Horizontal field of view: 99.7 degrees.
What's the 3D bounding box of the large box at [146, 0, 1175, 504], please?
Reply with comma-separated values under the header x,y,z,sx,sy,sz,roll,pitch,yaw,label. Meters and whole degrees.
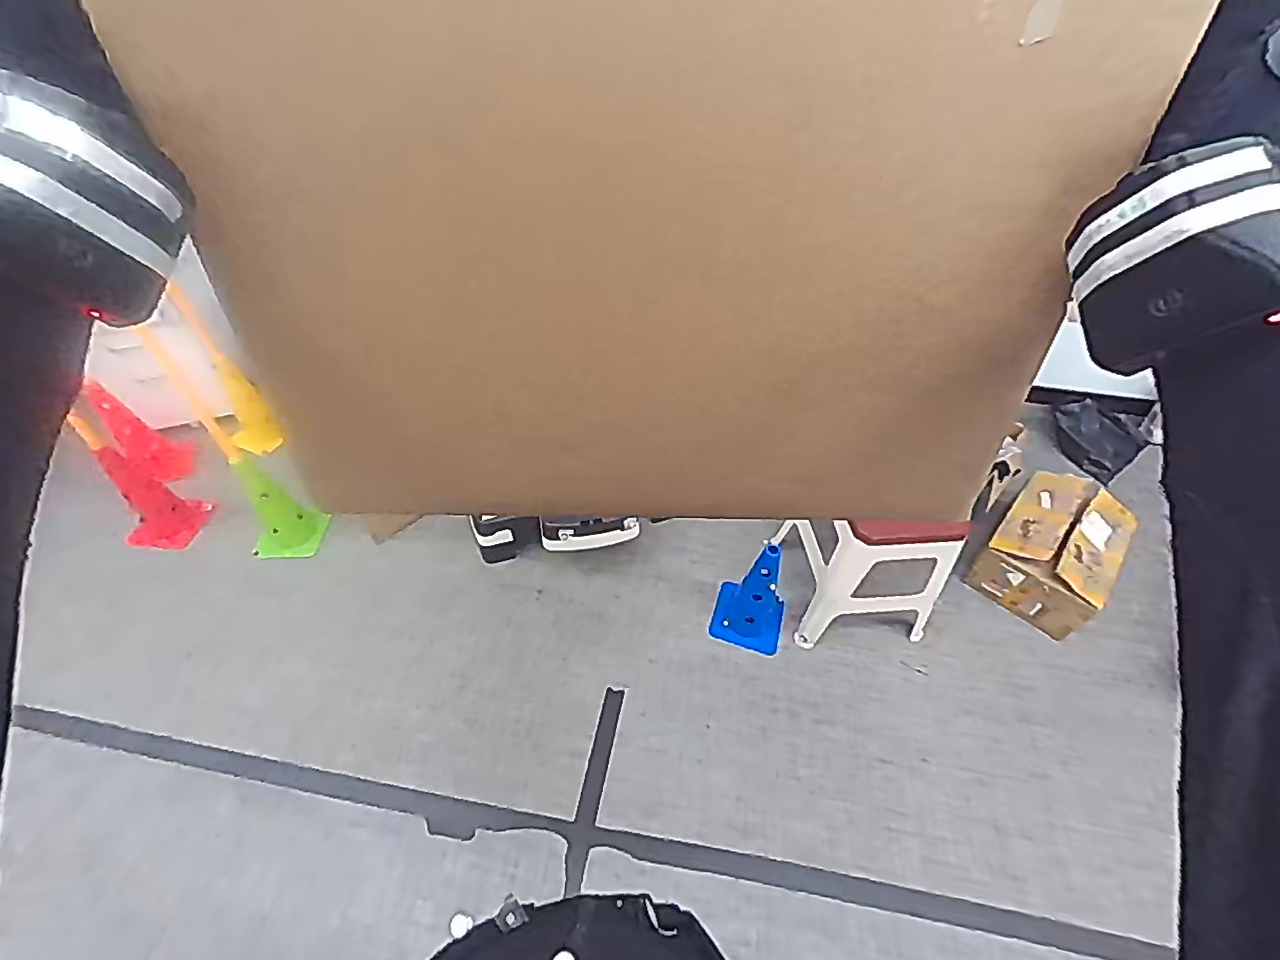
x,y,z,sx,sy,sz,roll,pitch,yaw,label
0.005,-0.192,0.378,0.408,0.320,0.320,1,37,-1,large box
